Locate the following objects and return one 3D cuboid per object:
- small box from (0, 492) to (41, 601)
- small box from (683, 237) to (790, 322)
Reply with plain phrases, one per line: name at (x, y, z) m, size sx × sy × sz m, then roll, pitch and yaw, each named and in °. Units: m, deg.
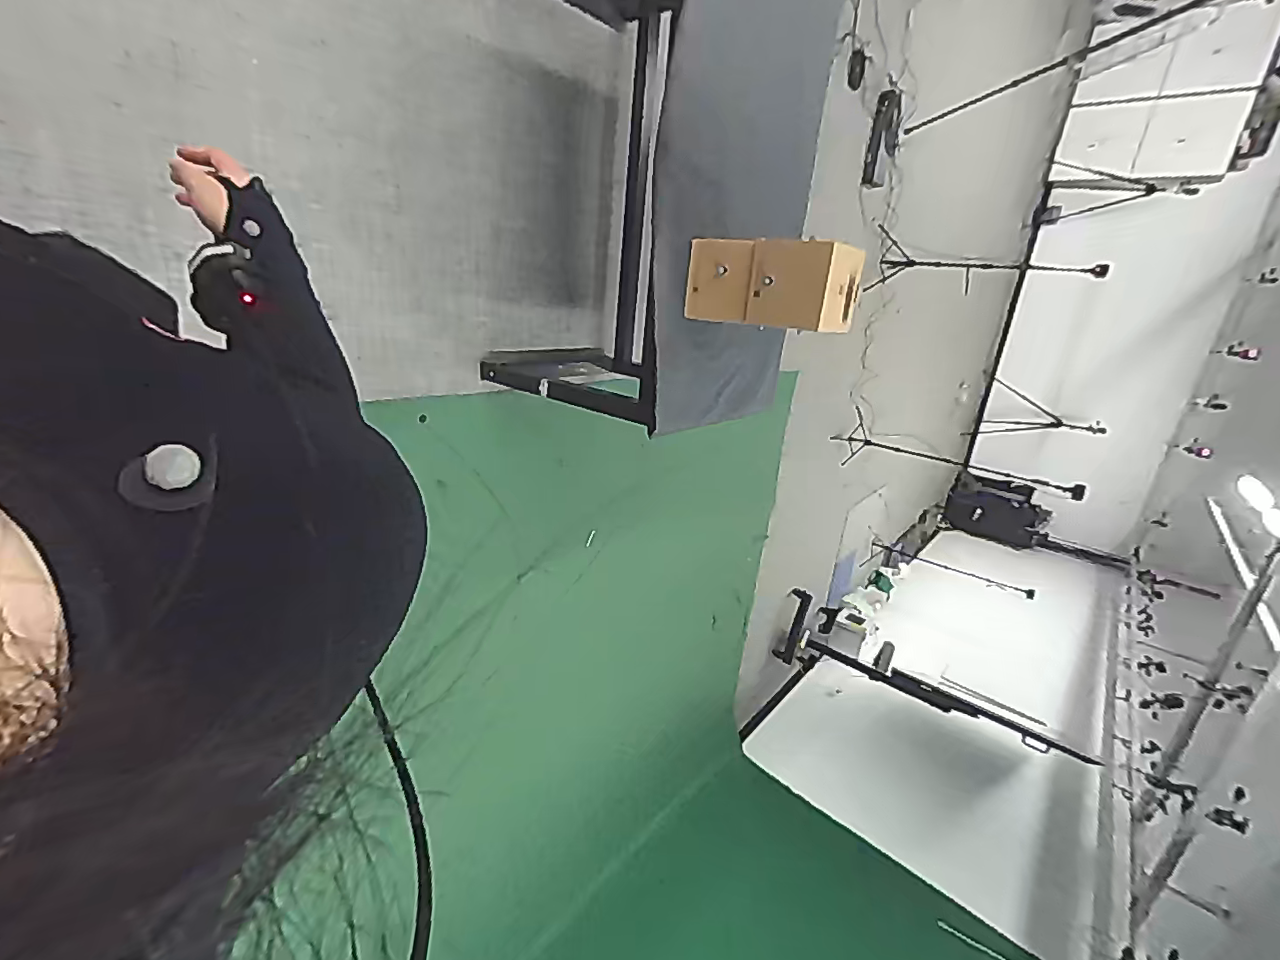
small box at (-1.195, 0.119, 0.936) m, size 0.168 × 0.176 × 0.179 m, roll -27°, pitch 127°, yaw -42°
small box at (0.215, -0.452, 1.231) m, size 0.179 × 0.176 × 0.168 m, roll -18°, pitch 120°, yaw -48°
